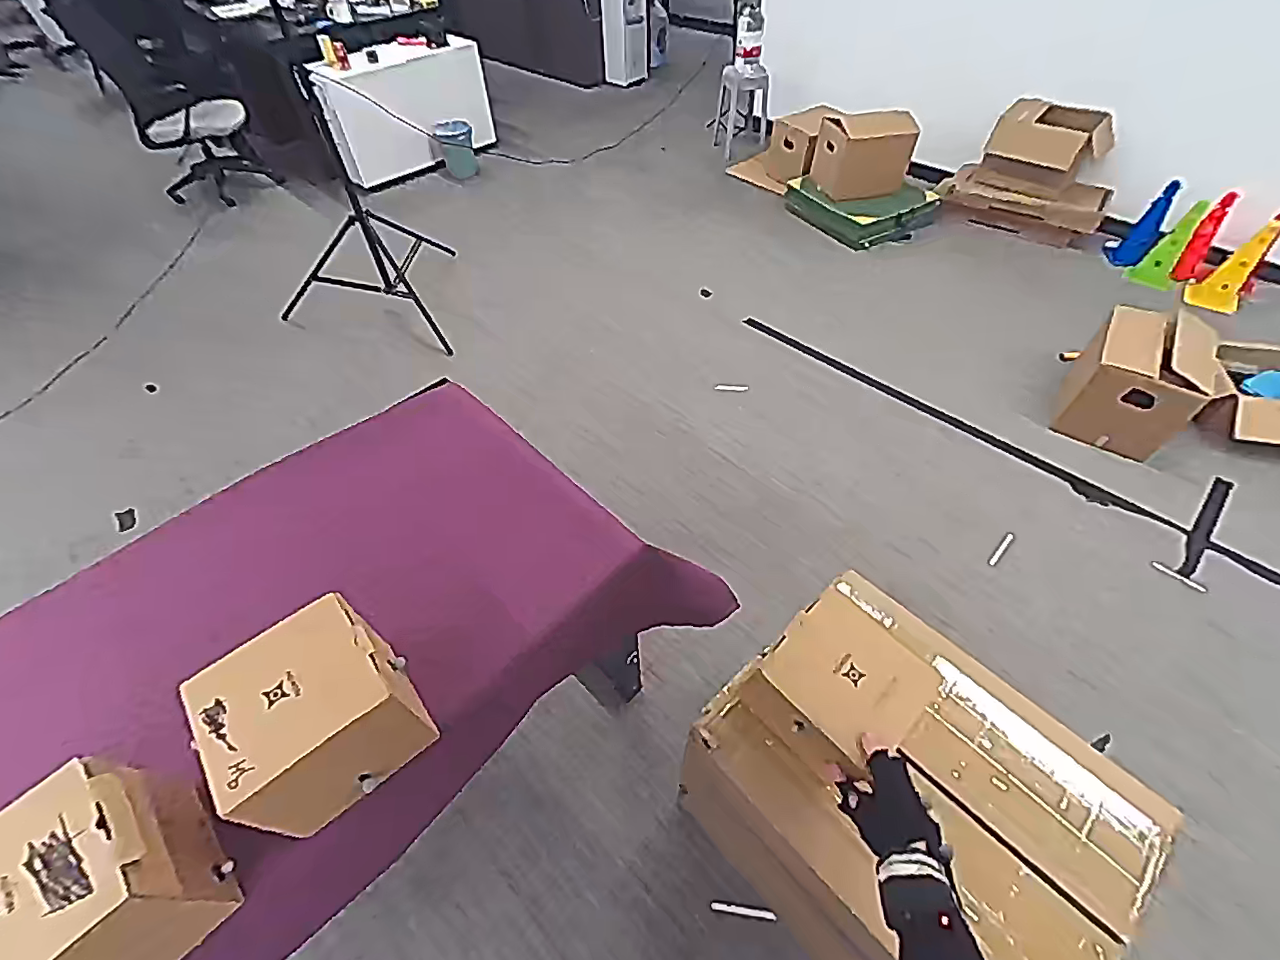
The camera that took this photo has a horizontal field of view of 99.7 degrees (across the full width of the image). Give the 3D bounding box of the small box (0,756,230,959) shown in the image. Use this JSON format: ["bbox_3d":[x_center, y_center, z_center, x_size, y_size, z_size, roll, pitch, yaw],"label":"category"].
[{"bbox_3d":[-0.552,0.417,0.532,0.168,0.176,0.179,36,61,28],"label":"small box"}]

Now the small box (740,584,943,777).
[{"bbox_3d":[0.261,0.282,0.744,0.179,0.176,0.168,41,66,20],"label":"small box"}]

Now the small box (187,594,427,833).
[{"bbox_3d":[-0.377,0.277,0.645,0.179,0.176,0.168,-33,56,-24],"label":"small box"}]
